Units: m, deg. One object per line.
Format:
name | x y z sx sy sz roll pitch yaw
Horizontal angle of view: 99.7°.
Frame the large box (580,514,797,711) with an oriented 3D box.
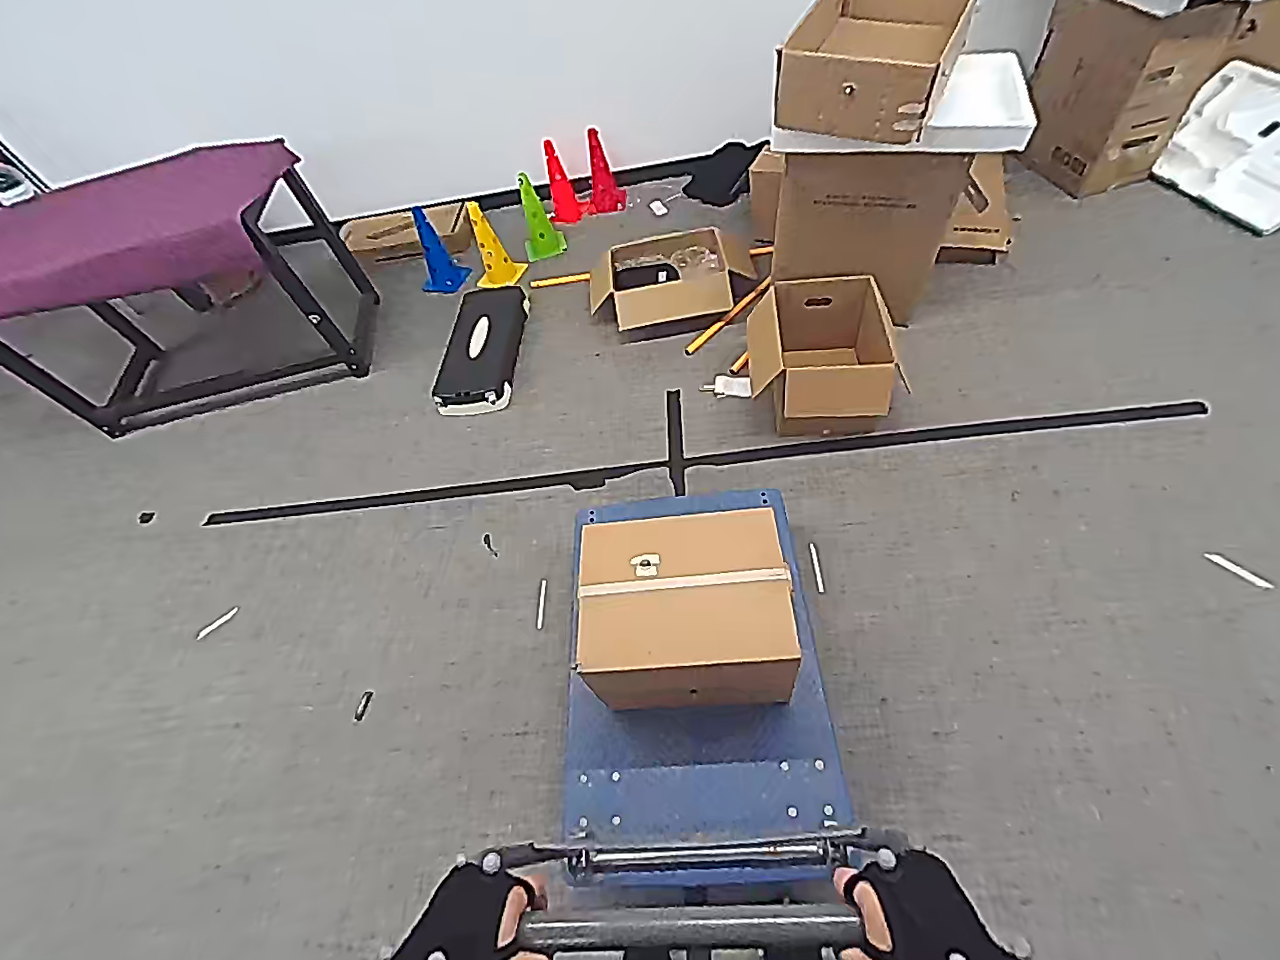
large box | 0.105 0.303 1.187 0.408 0.320 0.320 -7 53 7
